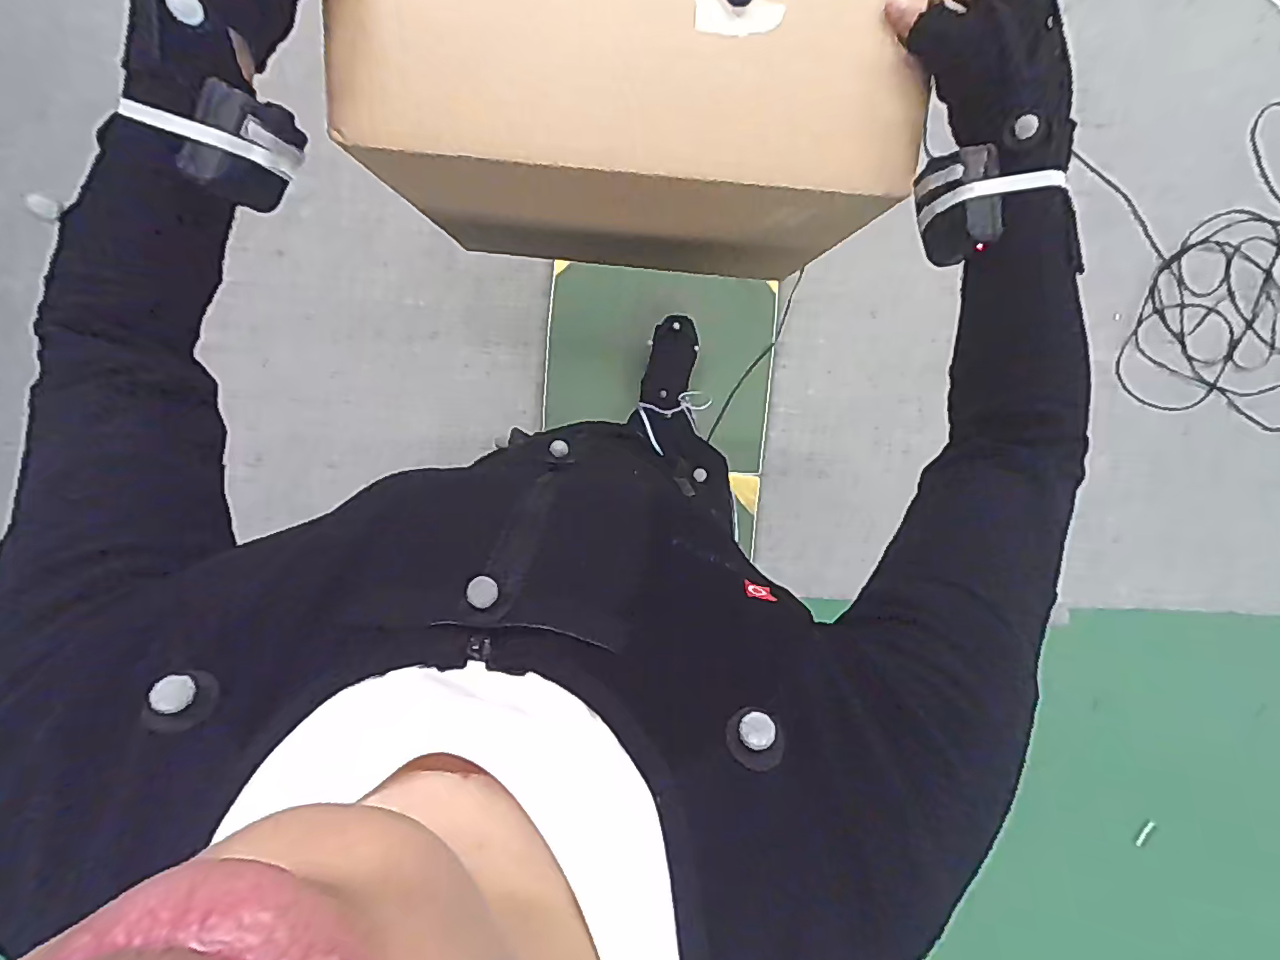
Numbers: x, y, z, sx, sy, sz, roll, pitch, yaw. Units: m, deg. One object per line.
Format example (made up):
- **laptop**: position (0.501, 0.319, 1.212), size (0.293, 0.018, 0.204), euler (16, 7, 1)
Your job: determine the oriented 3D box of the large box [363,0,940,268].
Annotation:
- **large box**: position (0.007, -0.402, 0.509), size (0.408, 0.320, 0.320), euler (4, 101, -3)
